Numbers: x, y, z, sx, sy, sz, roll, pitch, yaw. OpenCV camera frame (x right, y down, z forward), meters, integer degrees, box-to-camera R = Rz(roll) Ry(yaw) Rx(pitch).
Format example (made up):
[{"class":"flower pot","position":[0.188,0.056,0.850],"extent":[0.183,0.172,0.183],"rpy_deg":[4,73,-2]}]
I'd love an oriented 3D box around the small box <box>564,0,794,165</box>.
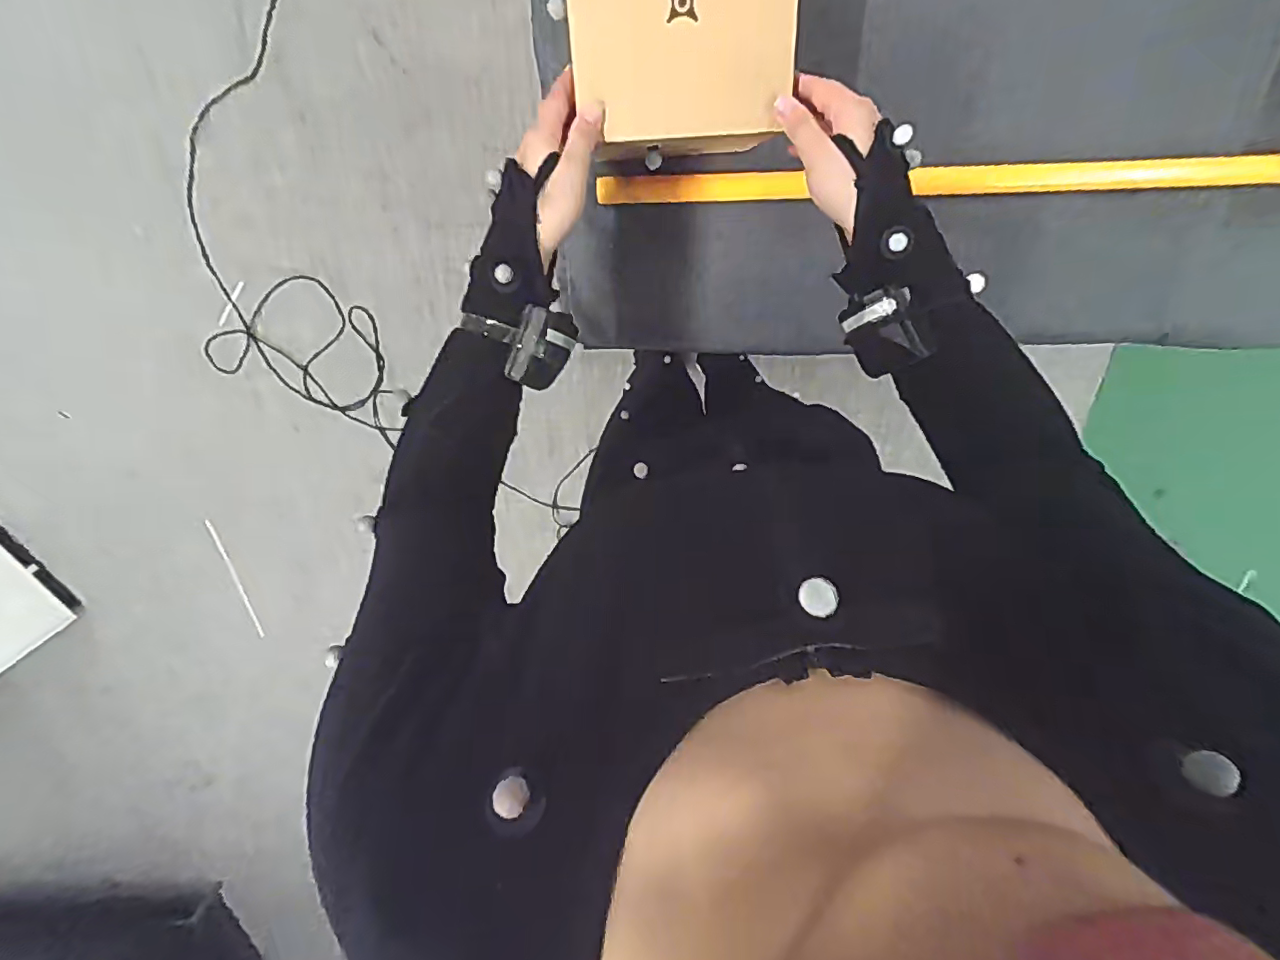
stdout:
[{"class":"small box","position":[0.029,-0.373,0.457],"extent":[0.168,0.176,0.179],"rpy_deg":[-3,116,2]}]
